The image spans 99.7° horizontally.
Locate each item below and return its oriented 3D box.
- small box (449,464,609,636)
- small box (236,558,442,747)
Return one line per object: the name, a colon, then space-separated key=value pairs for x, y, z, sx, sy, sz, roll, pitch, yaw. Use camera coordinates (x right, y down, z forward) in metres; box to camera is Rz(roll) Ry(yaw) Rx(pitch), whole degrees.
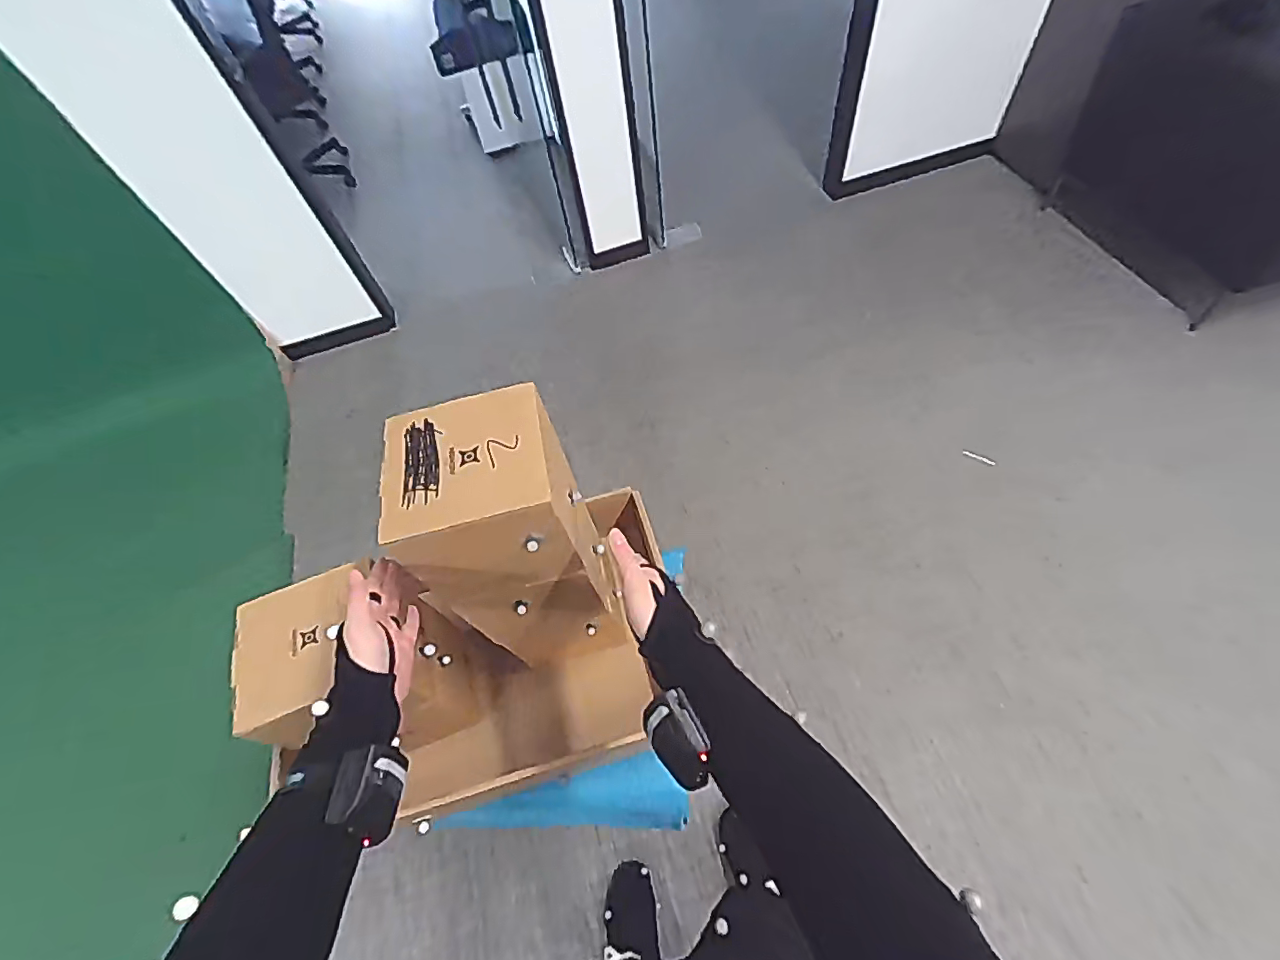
small box: x=-0.154 y=0.107 z=0.770 sx=0.179 sy=0.176 sz=0.168 roll=-14 pitch=58 yaw=-1
small box: x=-0.391 y=0.236 z=0.724 sx=0.179 sy=0.176 sz=0.168 roll=-20 pitch=57 yaw=-7
